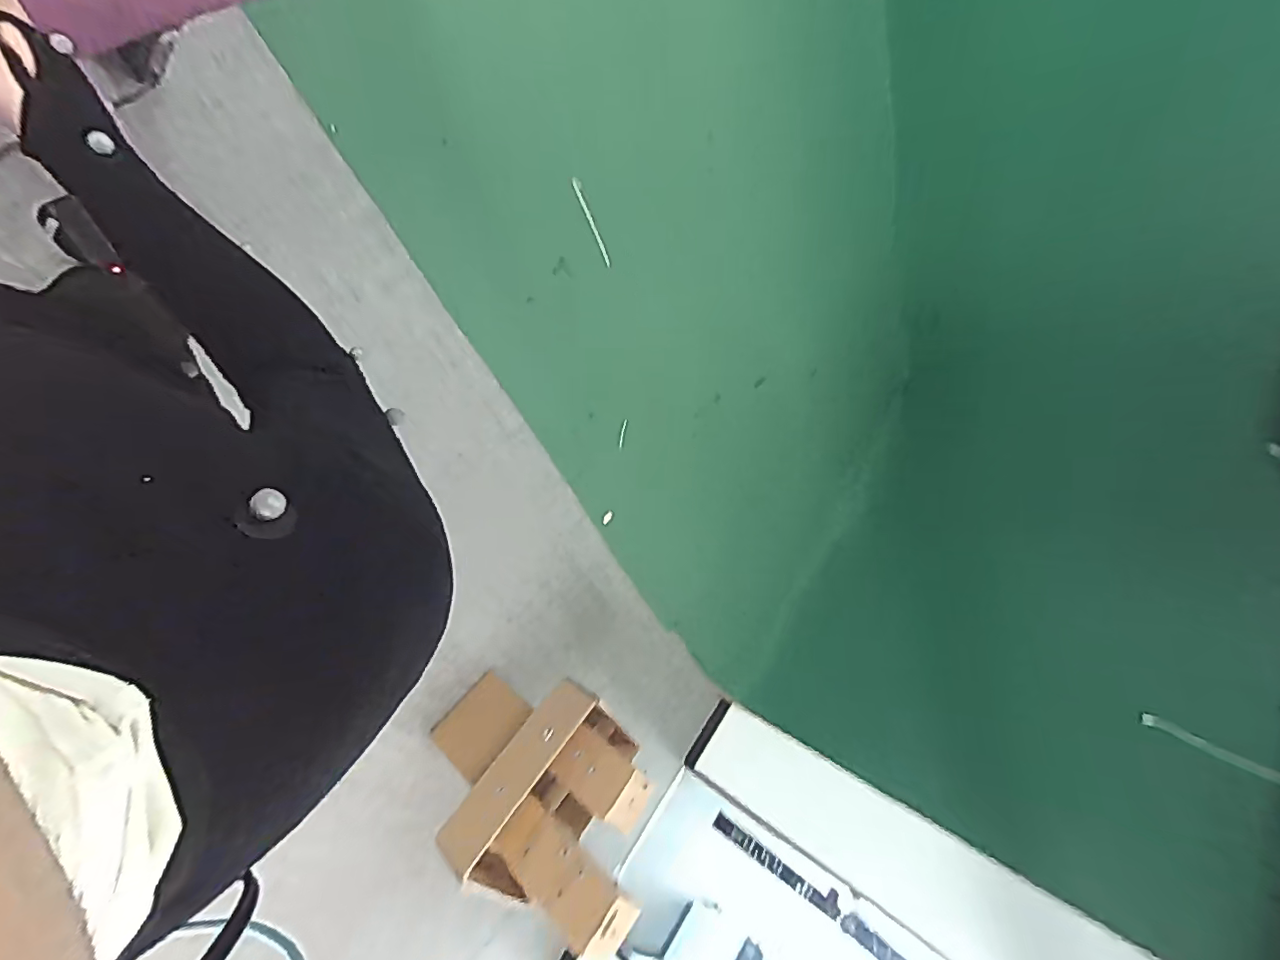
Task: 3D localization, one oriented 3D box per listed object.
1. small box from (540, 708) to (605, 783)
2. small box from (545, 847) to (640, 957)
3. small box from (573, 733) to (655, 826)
[{"bbox_3d":[-0.205,0.915,1.842,0.179,0.176,0.168,-48,133,-22],"label":"small box"},{"bbox_3d":[-0.135,1.180,1.521,0.168,0.176,0.179,-48,134,-23],"label":"small box"},{"bbox_3d":[-0.091,0.955,1.731,0.179,0.176,0.168,-50,134,-21],"label":"small box"}]
